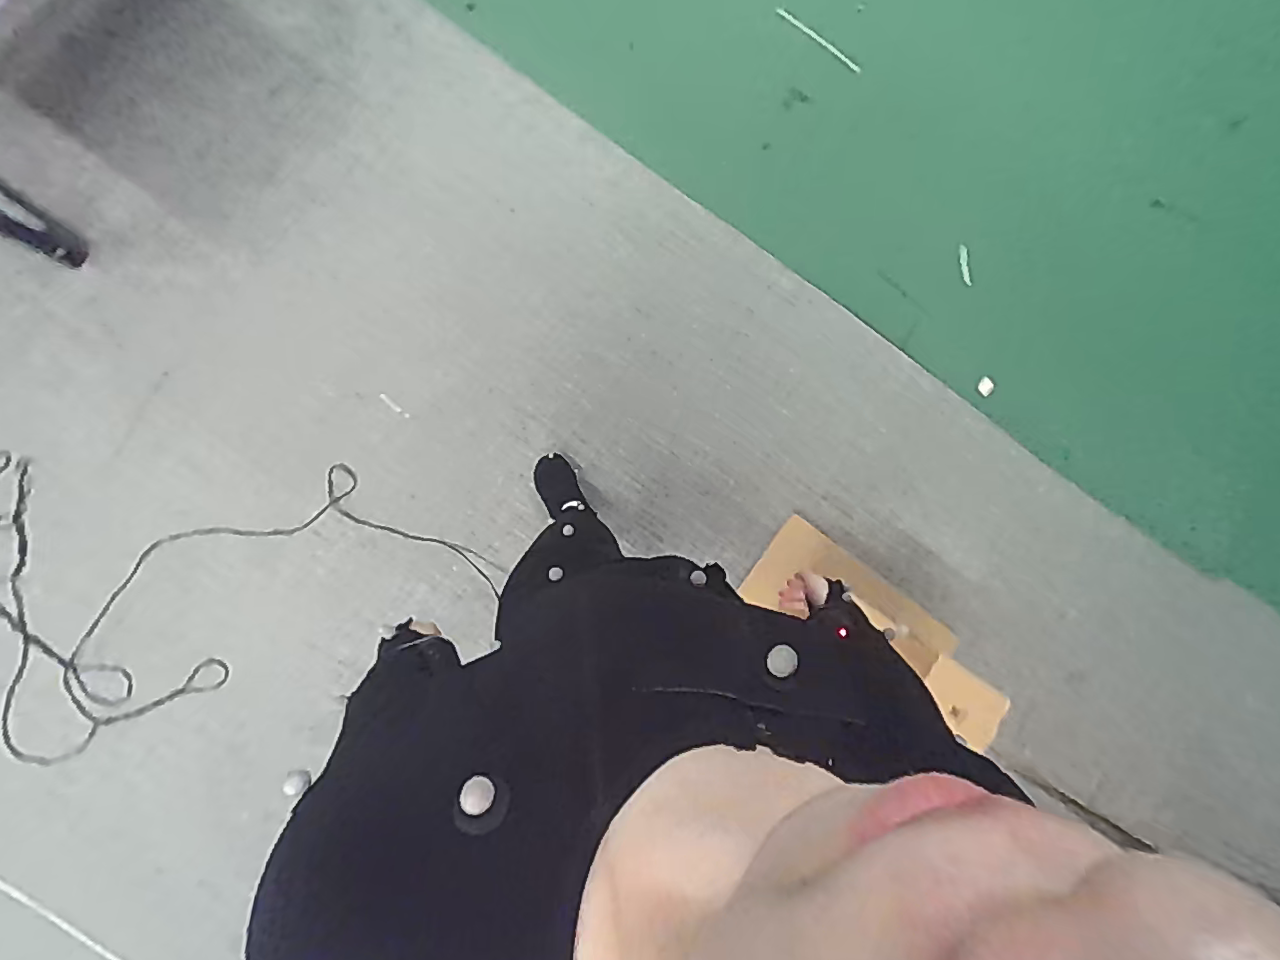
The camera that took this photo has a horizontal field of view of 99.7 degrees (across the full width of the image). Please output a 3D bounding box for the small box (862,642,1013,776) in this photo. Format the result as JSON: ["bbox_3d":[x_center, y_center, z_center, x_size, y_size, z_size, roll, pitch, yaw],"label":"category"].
[{"bbox_3d":[0.604,0.459,1.117,0.179,0.176,0.168,33,84,-2],"label":"small box"}]

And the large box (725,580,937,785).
[{"bbox_3d":[0.472,0.513,1.347,0.320,0.320,0.408,35,85,0],"label":"large box"}]
